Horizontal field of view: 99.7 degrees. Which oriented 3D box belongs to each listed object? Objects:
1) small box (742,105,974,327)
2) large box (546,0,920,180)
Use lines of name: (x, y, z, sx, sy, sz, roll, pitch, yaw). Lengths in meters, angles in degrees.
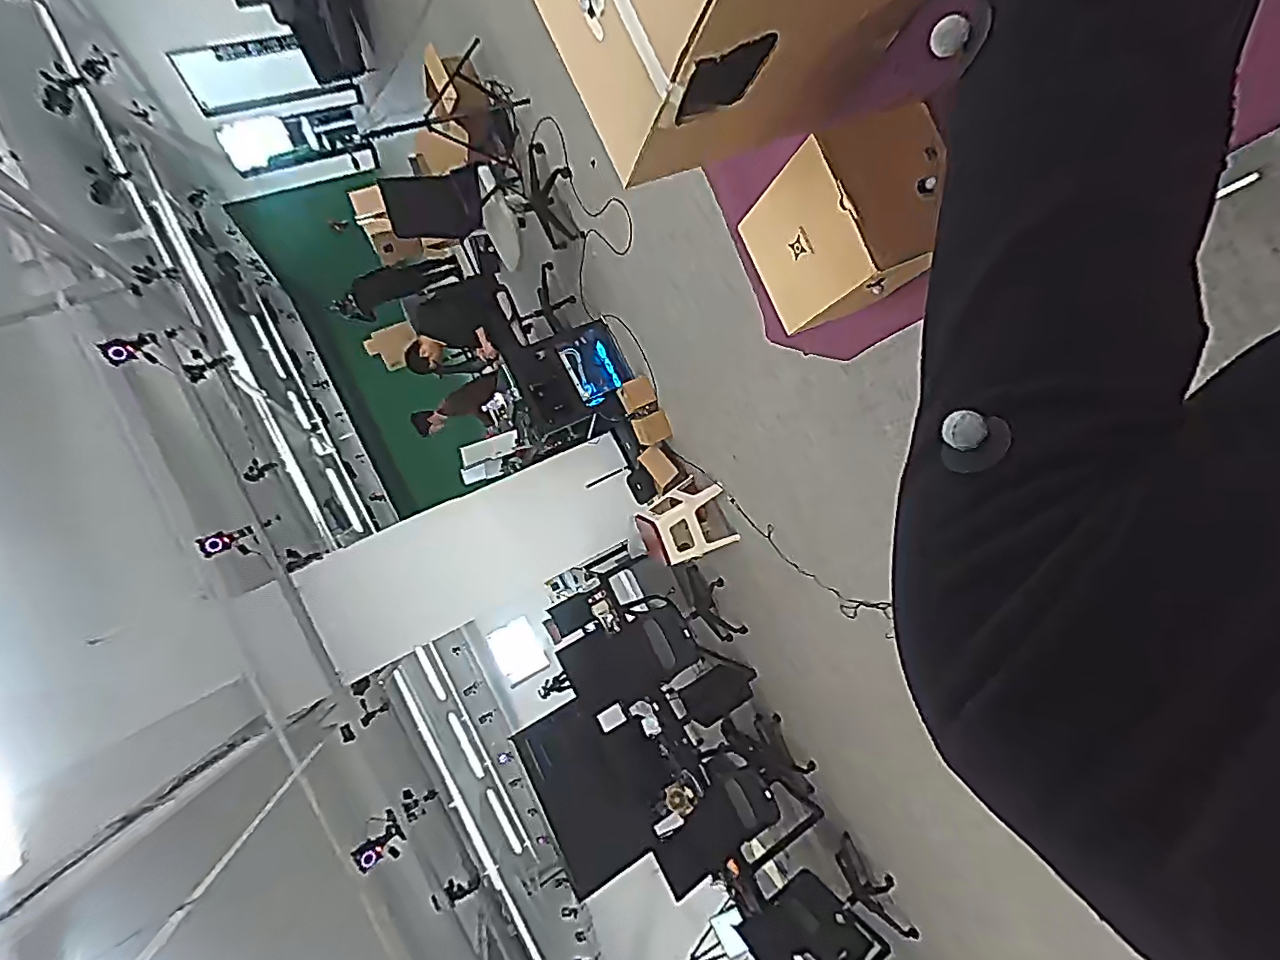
small box: (0.263, -0.320, 0.676, 0.168, 0.176, 0.179, 65, 162, 0)
large box: (0.078, -0.620, 0.552, 0.408, 0.320, 0.320, 62, 163, -3)
